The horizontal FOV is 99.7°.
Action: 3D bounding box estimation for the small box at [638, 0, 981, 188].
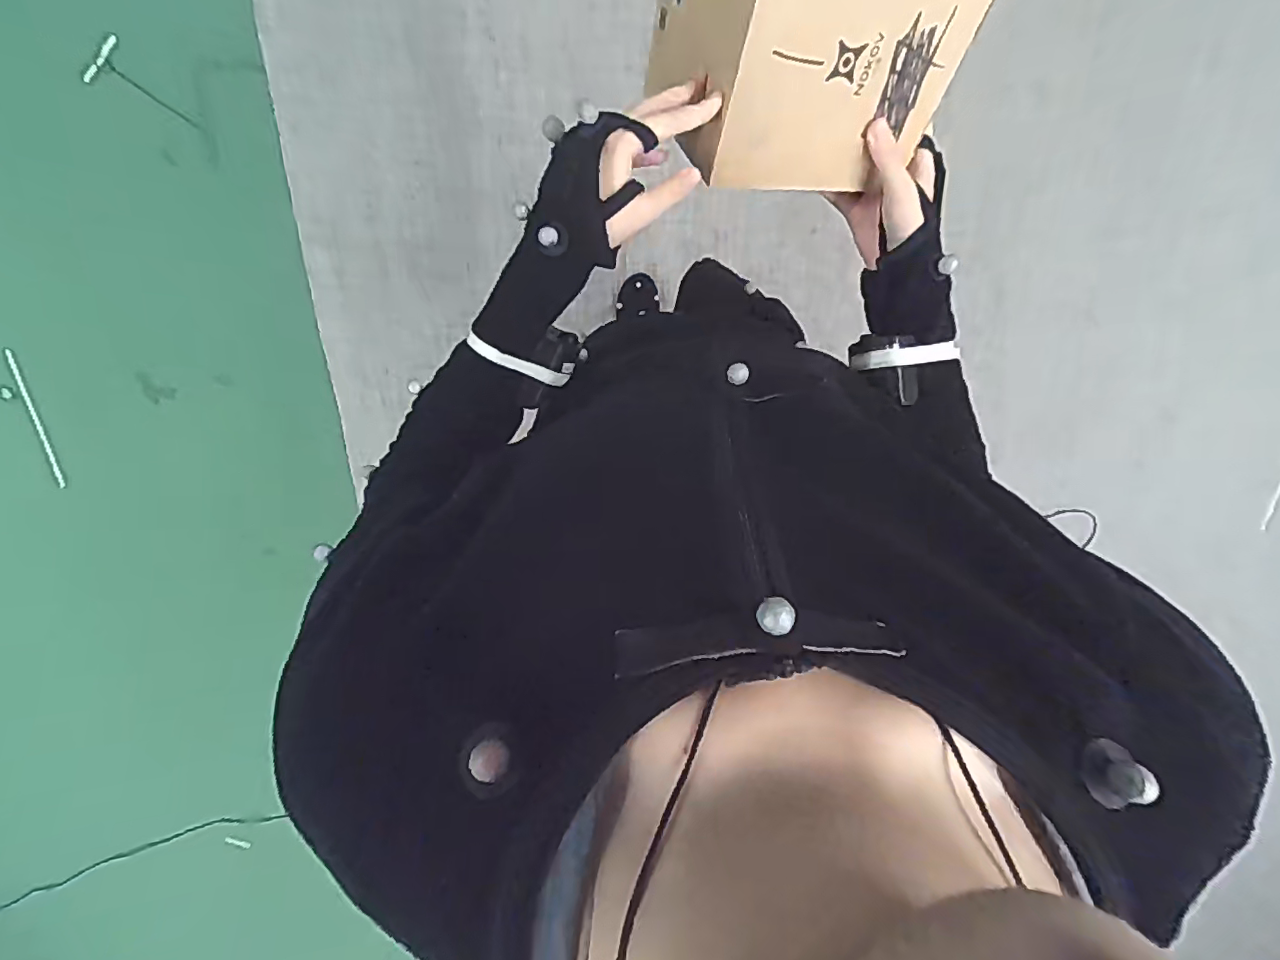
[{"bbox_3d":[0.114,-0.345,0.403,0.179,0.176,0.168,-7,145,-17],"label":"small box"}]
